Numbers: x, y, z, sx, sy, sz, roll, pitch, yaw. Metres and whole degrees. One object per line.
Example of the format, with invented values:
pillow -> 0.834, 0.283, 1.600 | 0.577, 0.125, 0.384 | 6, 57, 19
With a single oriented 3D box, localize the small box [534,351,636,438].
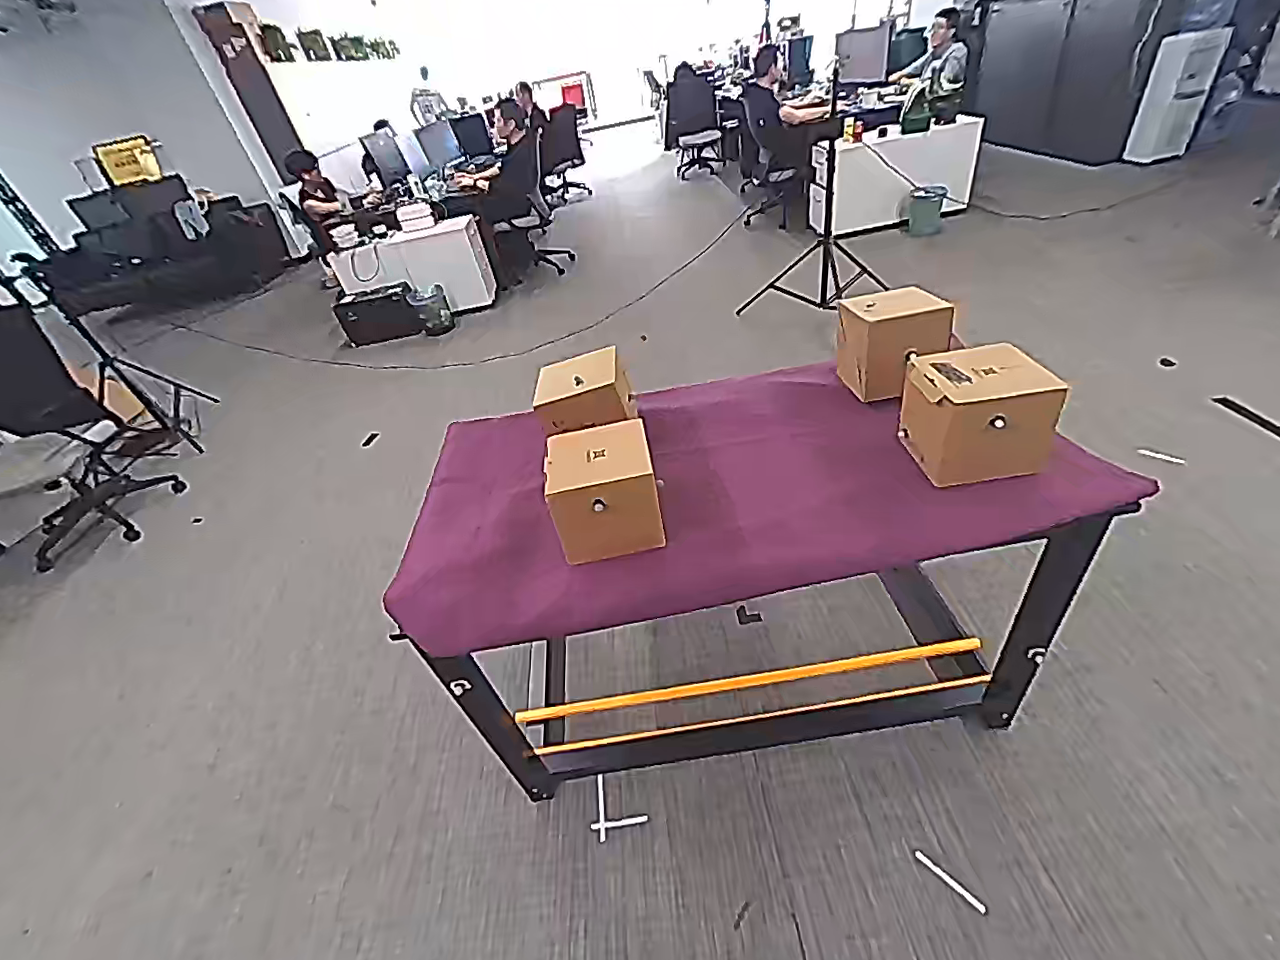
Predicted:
small box -> -0.109, -0.155, 1.156 | 0.179, 0.168, 0.176 | -15, 37, 9

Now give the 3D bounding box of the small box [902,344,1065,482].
small box -> 0.572, -0.112, 0.934 | 0.179, 0.176, 0.168 | -9, 37, 4

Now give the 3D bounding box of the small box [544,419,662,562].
small box -> -0.060, 0.020, 0.949 | 0.179, 0.176, 0.168 | -12, 38, 1
